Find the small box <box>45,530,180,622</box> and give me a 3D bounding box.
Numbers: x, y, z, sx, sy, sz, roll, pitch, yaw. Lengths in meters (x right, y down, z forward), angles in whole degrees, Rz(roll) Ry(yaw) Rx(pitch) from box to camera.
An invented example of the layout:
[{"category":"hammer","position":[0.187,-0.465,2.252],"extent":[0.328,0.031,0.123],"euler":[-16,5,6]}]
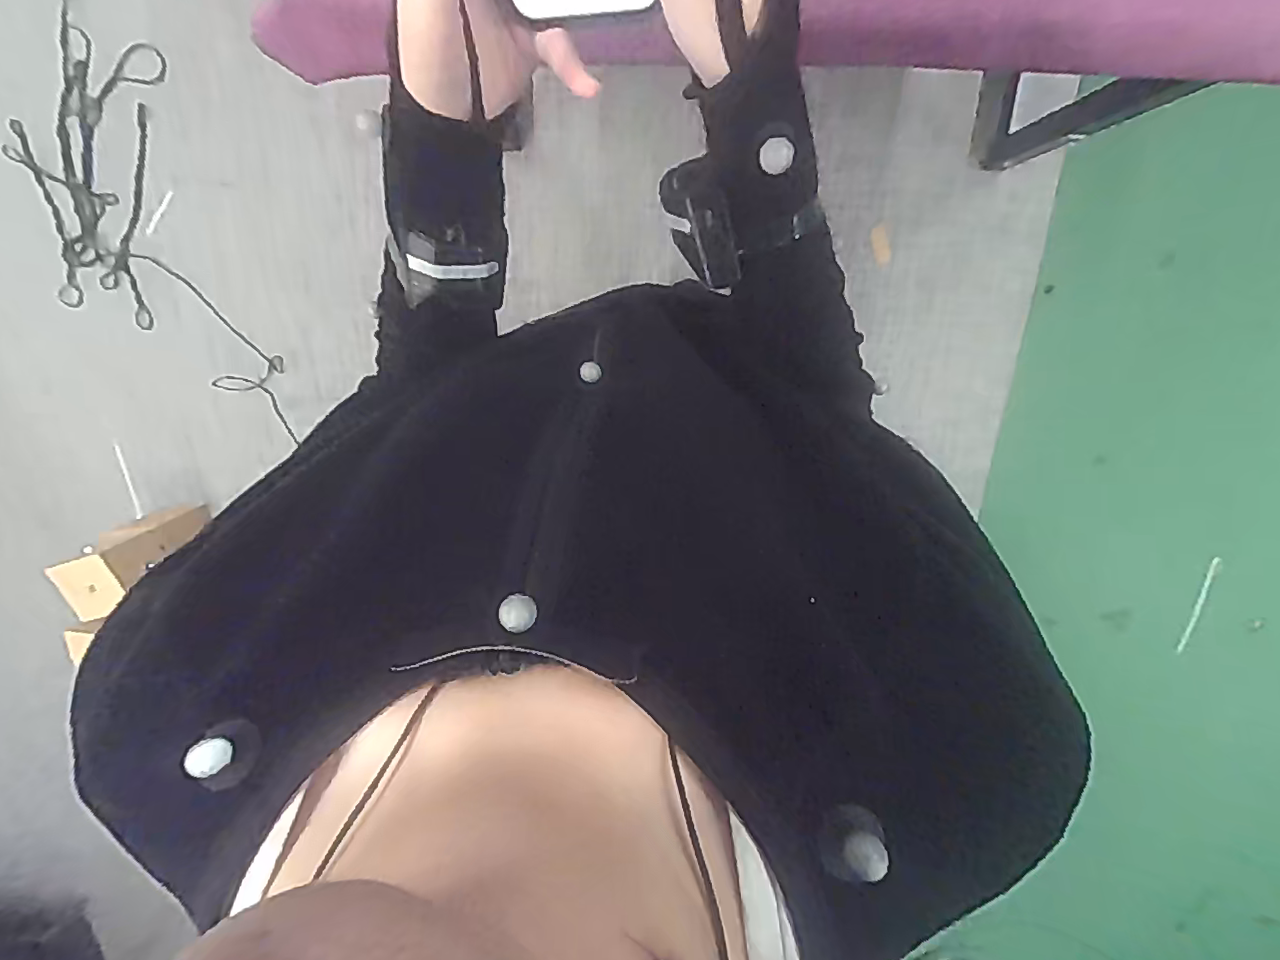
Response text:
[{"category":"small box","position":[-1.396,0.252,1.452],"extent":[0.179,0.176,0.168],"euler":[-15,107,9]}]
